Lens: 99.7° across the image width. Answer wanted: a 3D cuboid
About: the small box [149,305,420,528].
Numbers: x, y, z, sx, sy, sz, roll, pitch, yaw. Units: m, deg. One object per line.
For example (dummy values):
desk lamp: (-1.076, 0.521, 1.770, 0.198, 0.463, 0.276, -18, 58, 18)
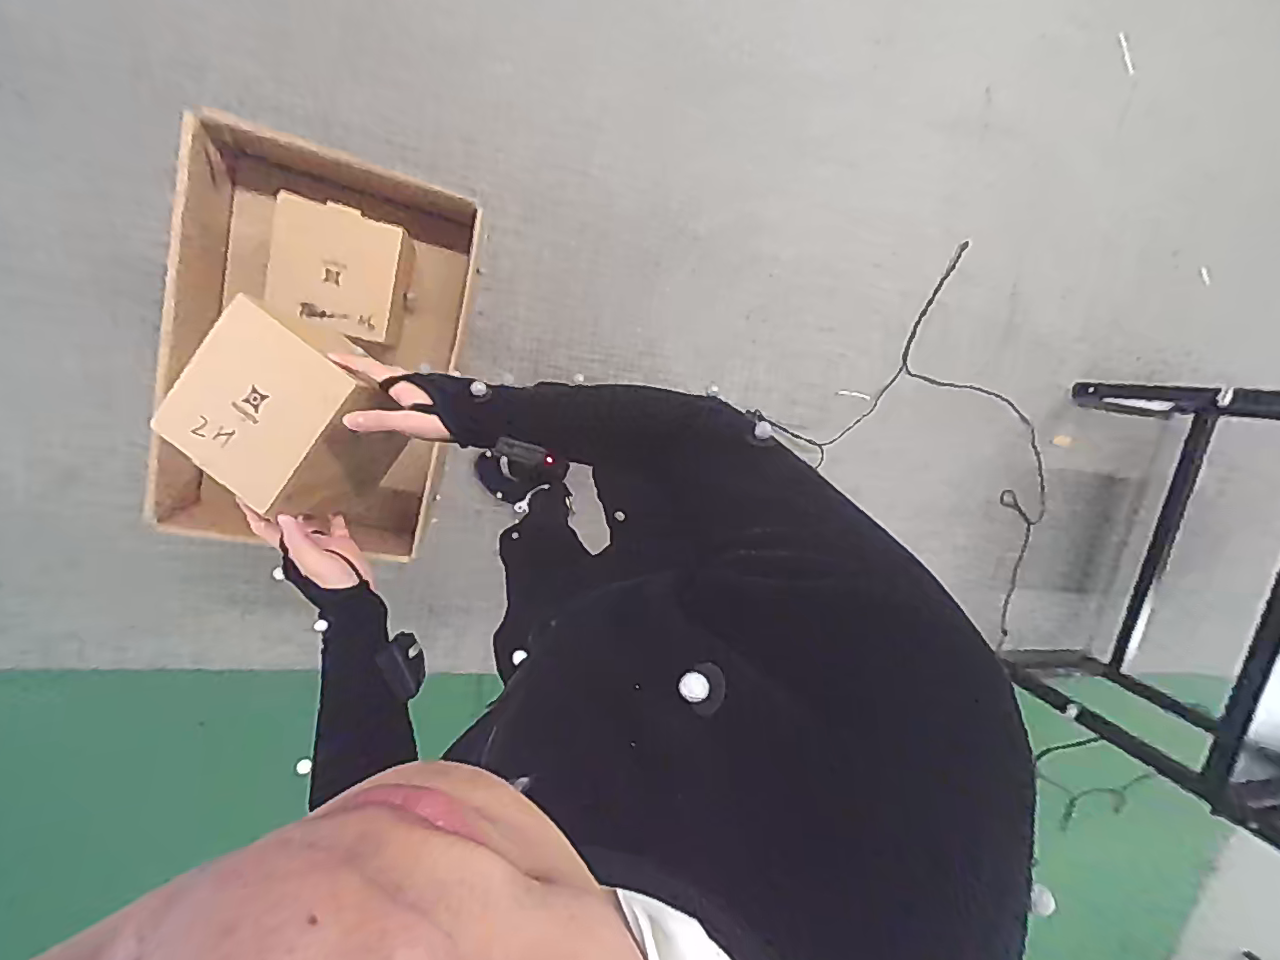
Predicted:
small box: (-0.392, -0.064, 0.635, 0.168, 0.176, 0.179, 37, 91, 5)
